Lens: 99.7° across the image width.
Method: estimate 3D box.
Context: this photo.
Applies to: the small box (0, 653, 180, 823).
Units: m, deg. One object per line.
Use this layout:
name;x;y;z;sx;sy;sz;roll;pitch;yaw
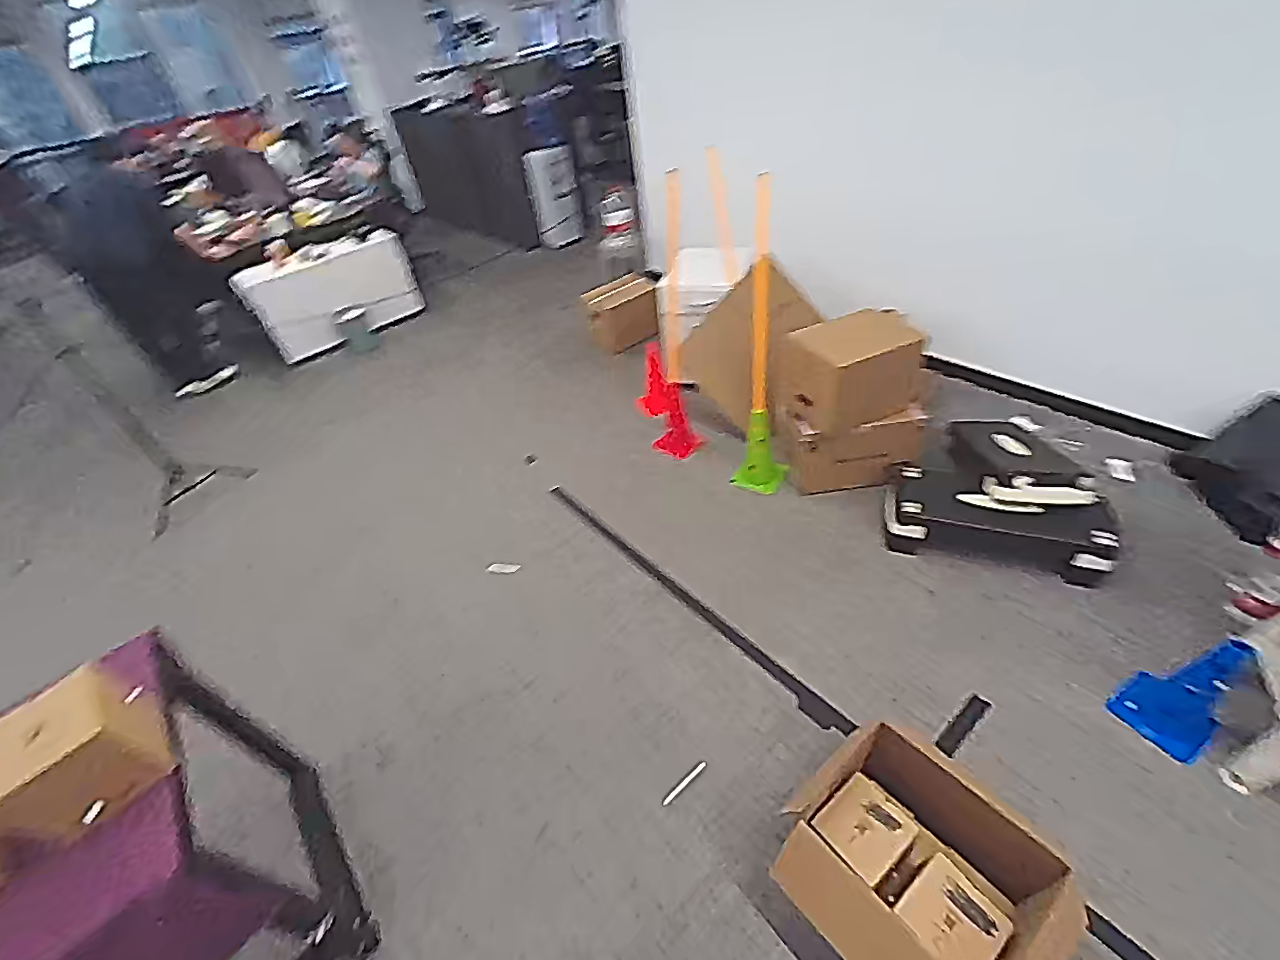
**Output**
small box;-0.946;0.442;0.928;0.168;0.176;0.179;-38;48;-26
